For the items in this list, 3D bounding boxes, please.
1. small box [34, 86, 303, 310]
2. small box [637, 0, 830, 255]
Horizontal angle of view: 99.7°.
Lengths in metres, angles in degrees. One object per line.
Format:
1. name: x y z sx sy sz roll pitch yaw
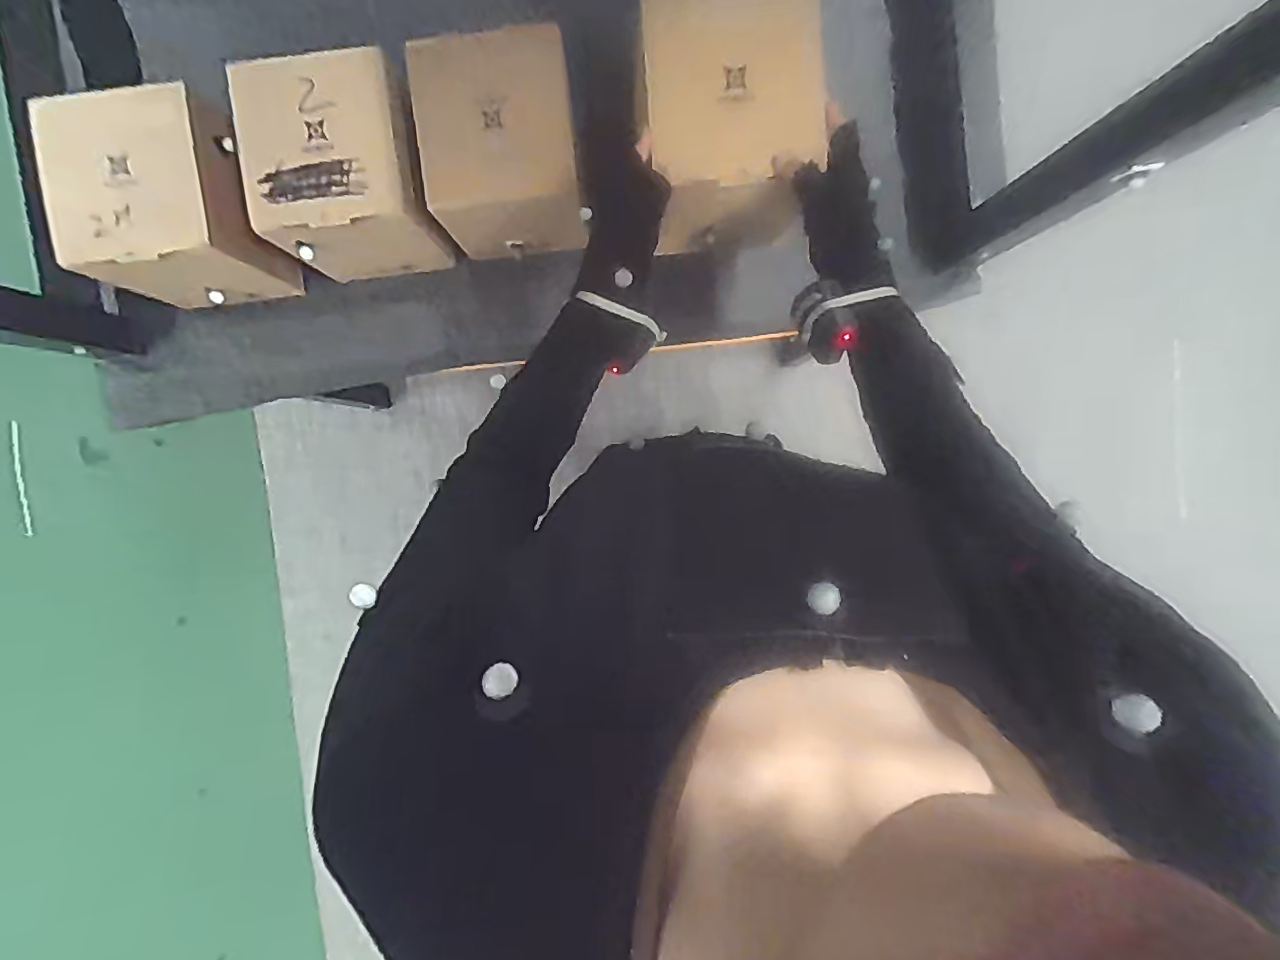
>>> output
1. small box: -0.541 -0.321 0.647 0.168 0.176 0.179 -7 93 0
2. small box: 0.087 -0.363 0.578 0.168 0.176 0.179 -5 92 -2
